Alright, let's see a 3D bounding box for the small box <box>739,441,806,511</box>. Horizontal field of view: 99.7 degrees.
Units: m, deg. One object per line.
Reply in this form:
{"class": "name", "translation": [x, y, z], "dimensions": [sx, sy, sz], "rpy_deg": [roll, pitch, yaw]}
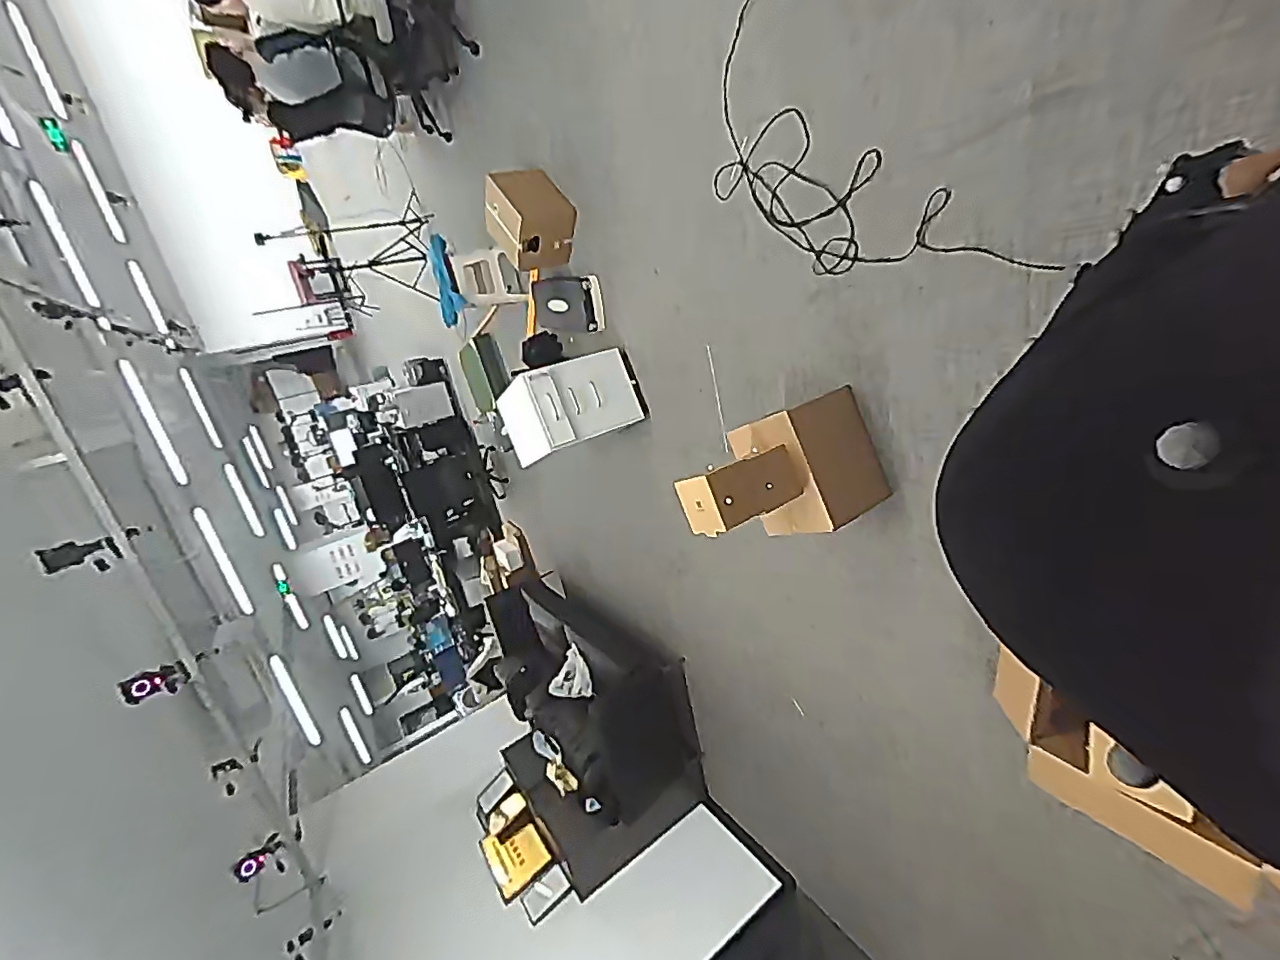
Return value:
{"class": "small box", "translation": [0.398, -0.008, 1.726], "dimensions": [0.168, 0.176, 0.179], "rpy_deg": [-17, 95, 61]}

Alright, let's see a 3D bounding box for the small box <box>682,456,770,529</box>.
{"class": "small box", "translation": [0.262, 0.036, 1.648], "dimensions": [0.168, 0.176, 0.179], "rpy_deg": [-16, 97, 60]}
